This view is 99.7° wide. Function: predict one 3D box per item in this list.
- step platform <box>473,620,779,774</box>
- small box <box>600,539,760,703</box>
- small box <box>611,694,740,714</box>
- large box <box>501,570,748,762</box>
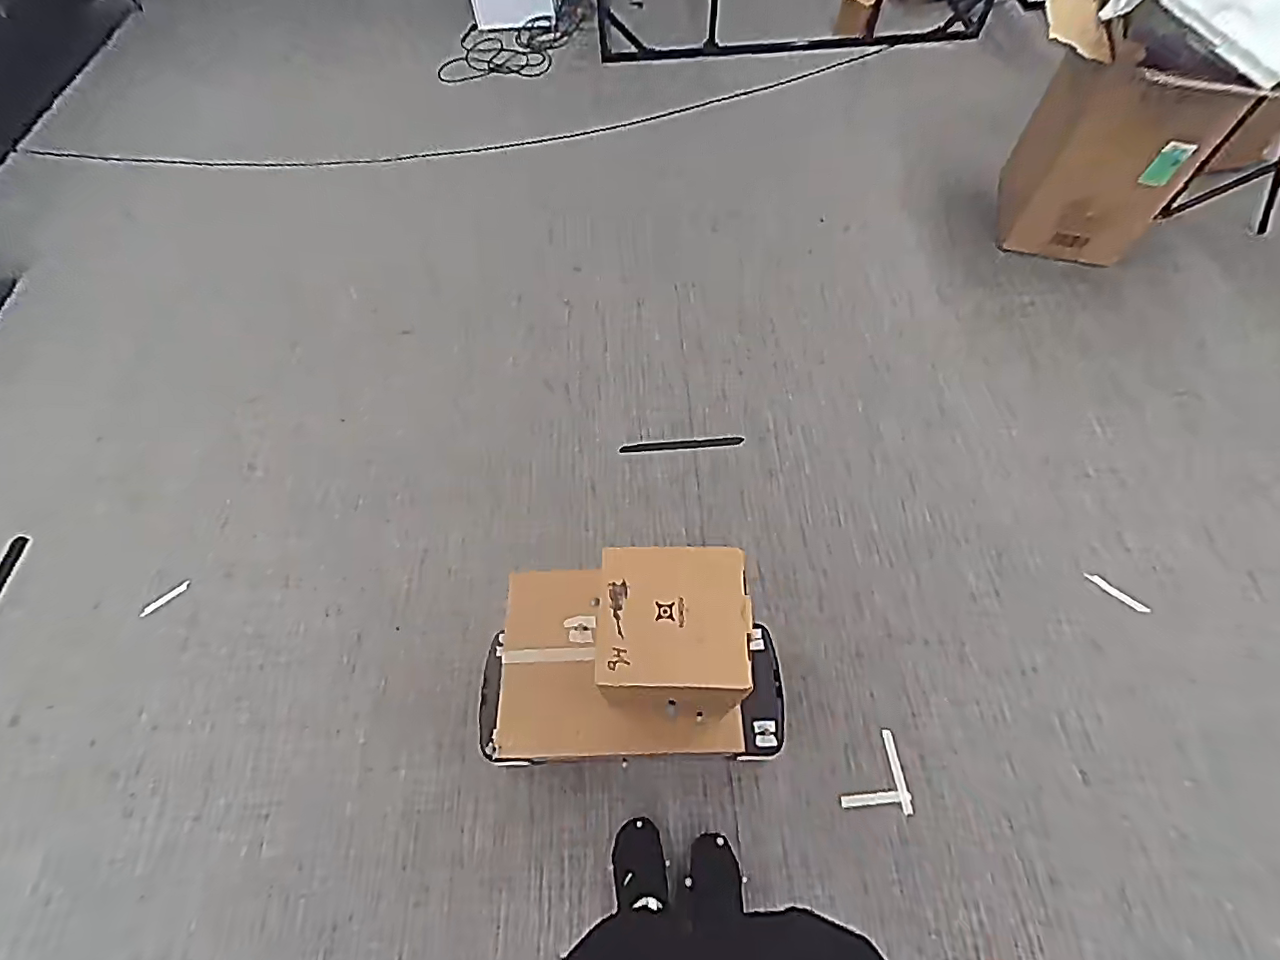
[{"bbox_3d":[-0.028,0.500,1.259,0.684,0.204,0.286,2,61,5],"label":"step platform"},{"bbox_3d":[0.047,0.185,0.691,0.179,0.176,0.168,1,60,2],"label":"small box"},{"bbox_3d":[0.054,0.263,0.835,0.179,0.176,0.168,1,61,4],"label":"small box"},{"bbox_3d":[-0.021,0.370,1.059,0.408,0.320,0.320,-3,60,2],"label":"large box"}]
